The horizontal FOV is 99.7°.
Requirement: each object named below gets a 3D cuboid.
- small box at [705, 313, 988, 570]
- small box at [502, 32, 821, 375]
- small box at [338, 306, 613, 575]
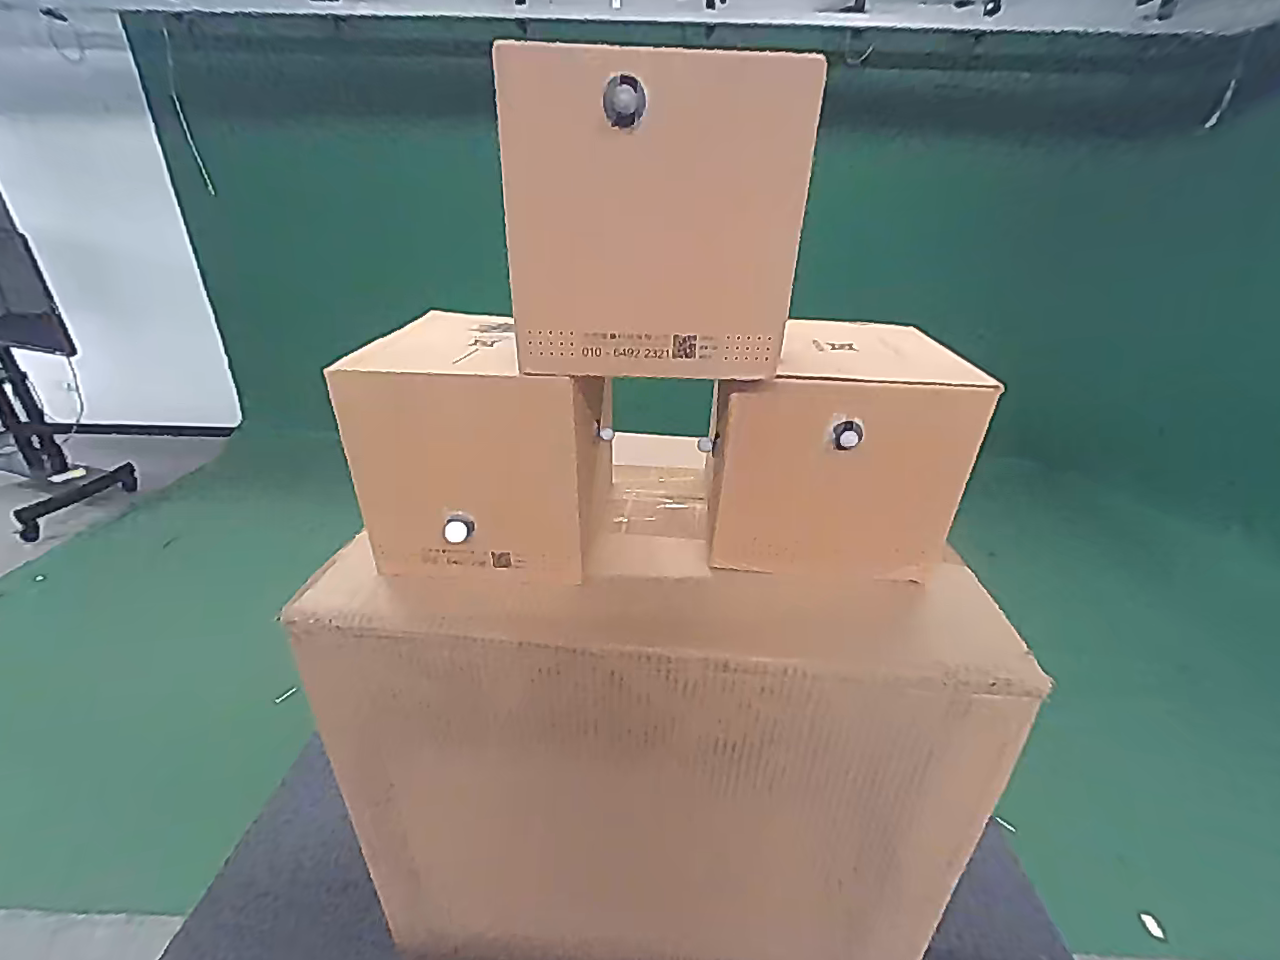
[{"bbox_3d":[0.149,-0.039,0.468,0.179,0.176,0.168,5,30,2],"label":"small box"},{"bbox_3d":[0.007,-0.183,0.382,0.168,0.176,0.179,2,29,-1],"label":"small box"},{"bbox_3d":[-0.115,-0.043,0.462,0.168,0.176,0.179,3,29,5],"label":"small box"}]
